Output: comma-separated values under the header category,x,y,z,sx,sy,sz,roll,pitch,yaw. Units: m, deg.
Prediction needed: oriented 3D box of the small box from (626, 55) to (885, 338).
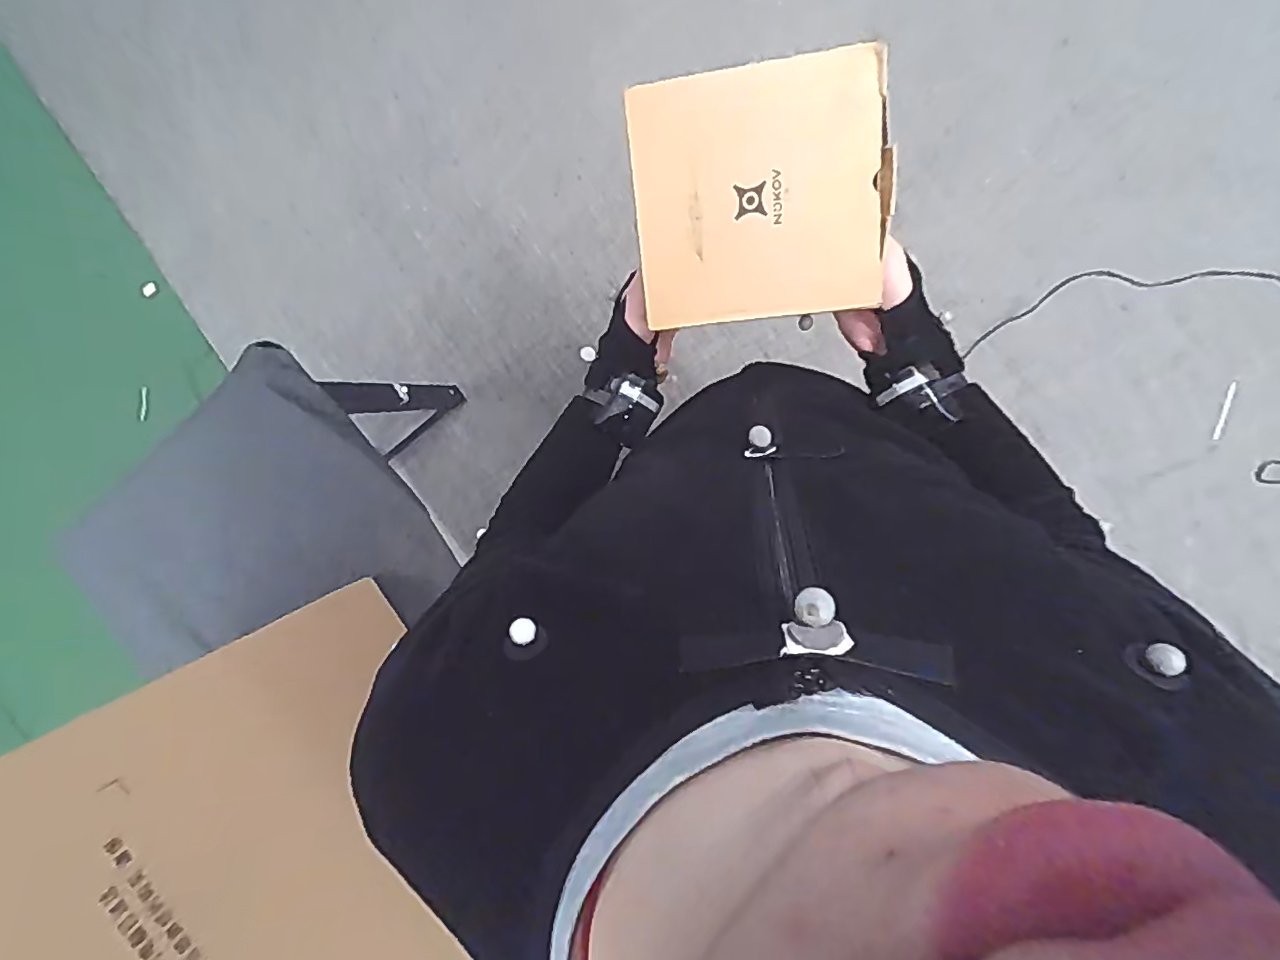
category,x,y,z,sx,sy,sz,roll,pitch,yaw
small box,0.094,-0.218,0.463,0.179,0.176,0.168,-4,106,11
